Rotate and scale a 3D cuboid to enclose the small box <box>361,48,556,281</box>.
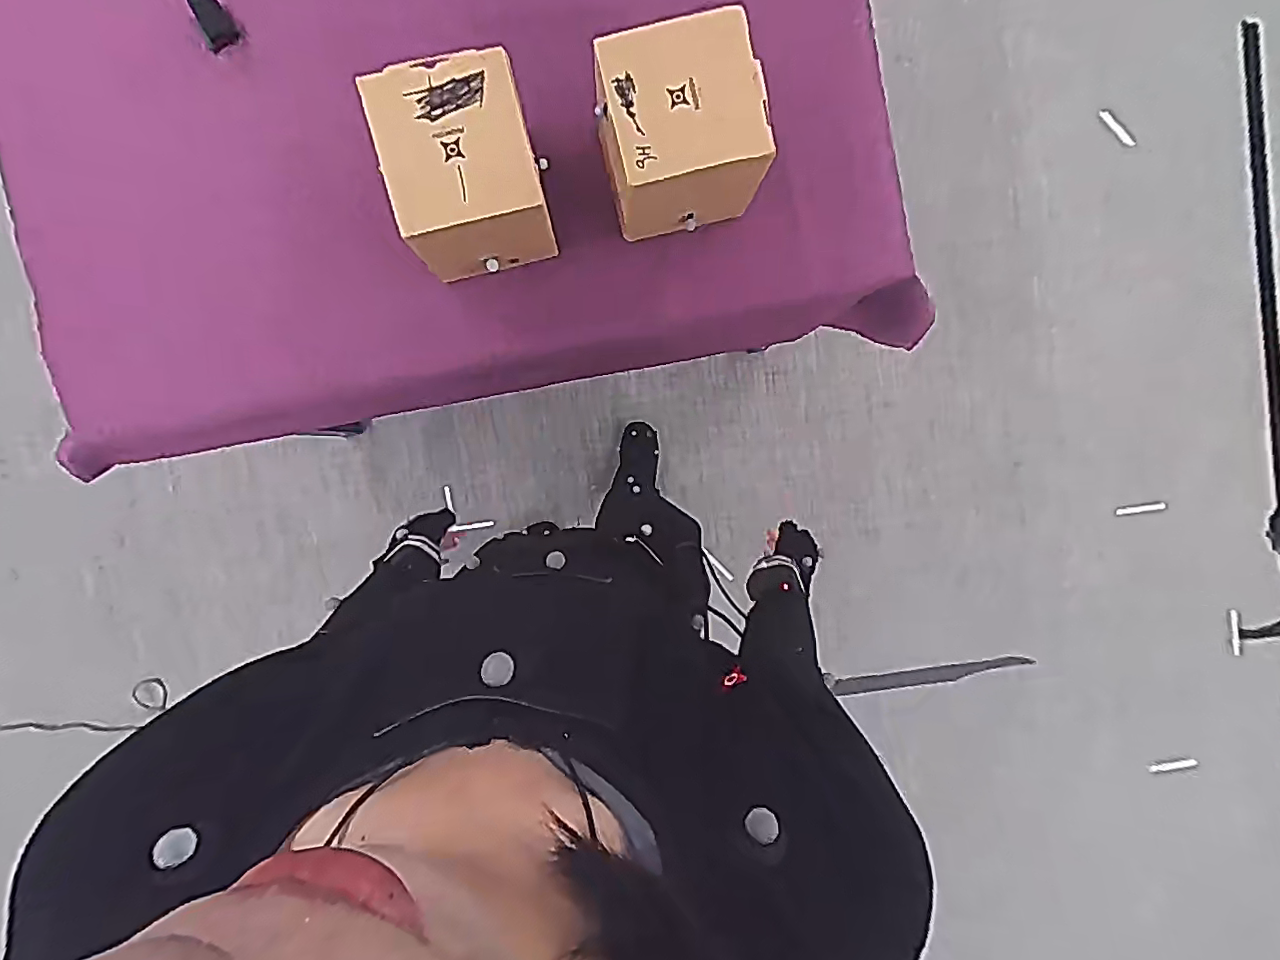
[{"bbox_3d":[-0.209,-0.374,0.671,0.168,0.176,0.179,-14,94,-2],"label":"small box"}]

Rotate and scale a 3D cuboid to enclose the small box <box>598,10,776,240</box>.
[{"bbox_3d":[0.049,-0.429,0.682,0.179,0.176,0.168,-14,93,-2],"label":"small box"}]
